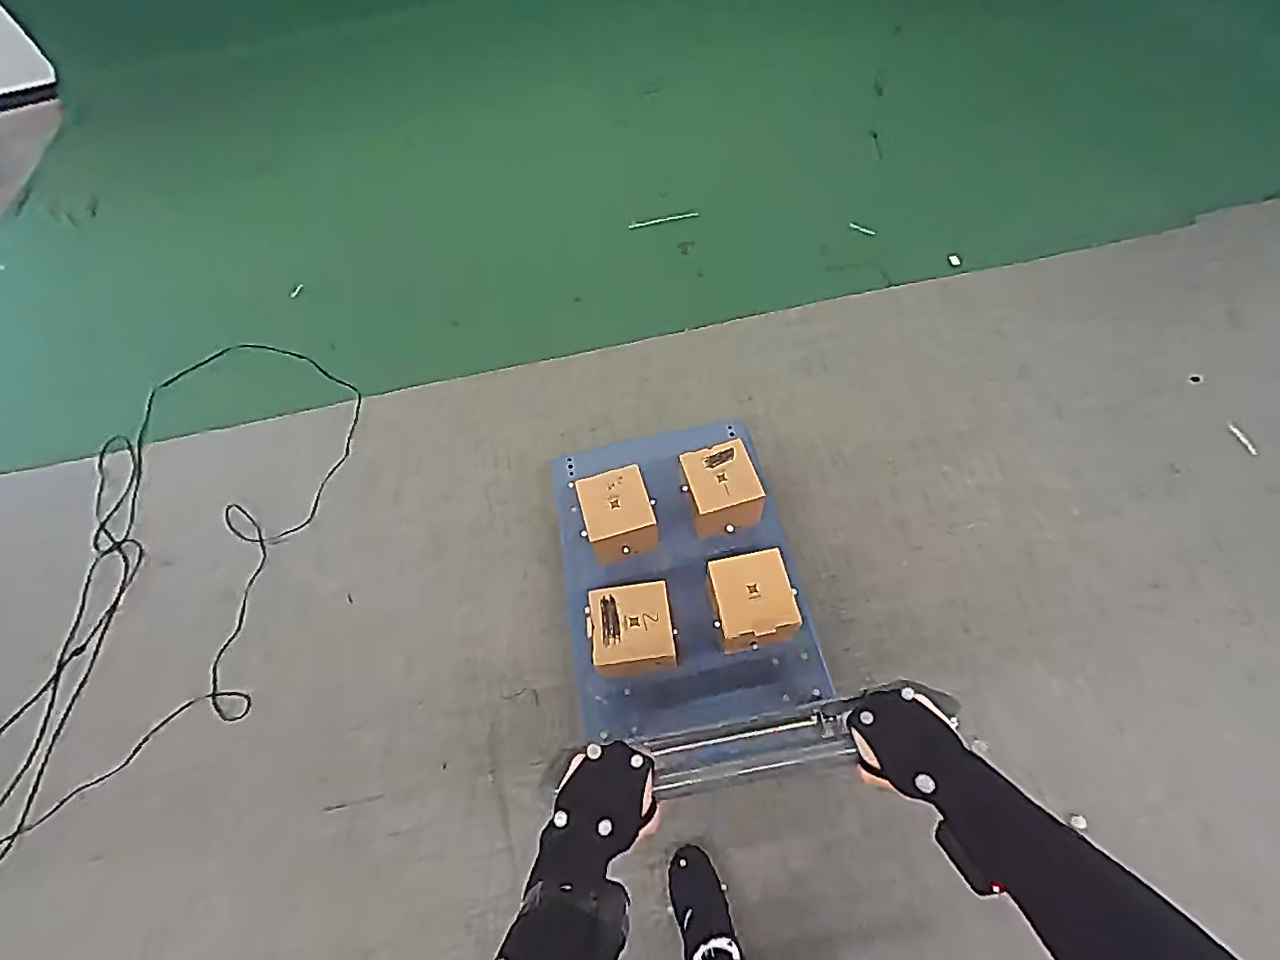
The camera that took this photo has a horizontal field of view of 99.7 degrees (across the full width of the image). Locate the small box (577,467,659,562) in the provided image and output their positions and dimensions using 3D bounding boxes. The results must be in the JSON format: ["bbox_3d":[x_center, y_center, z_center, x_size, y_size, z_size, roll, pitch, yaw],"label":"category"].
[{"bbox_3d":[-0.052,0.097,1.385,0.168,0.176,0.179,-15,60,-4],"label":"small box"}]

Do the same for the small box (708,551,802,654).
[{"bbox_3d":[0.256,0.287,1.250,0.168,0.176,0.179,-11,61,-1],"label":"small box"}]

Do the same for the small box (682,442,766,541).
[{"bbox_3d":[0.209,0.033,1.396,0.168,0.176,0.179,-16,61,-3],"label":"small box"}]
